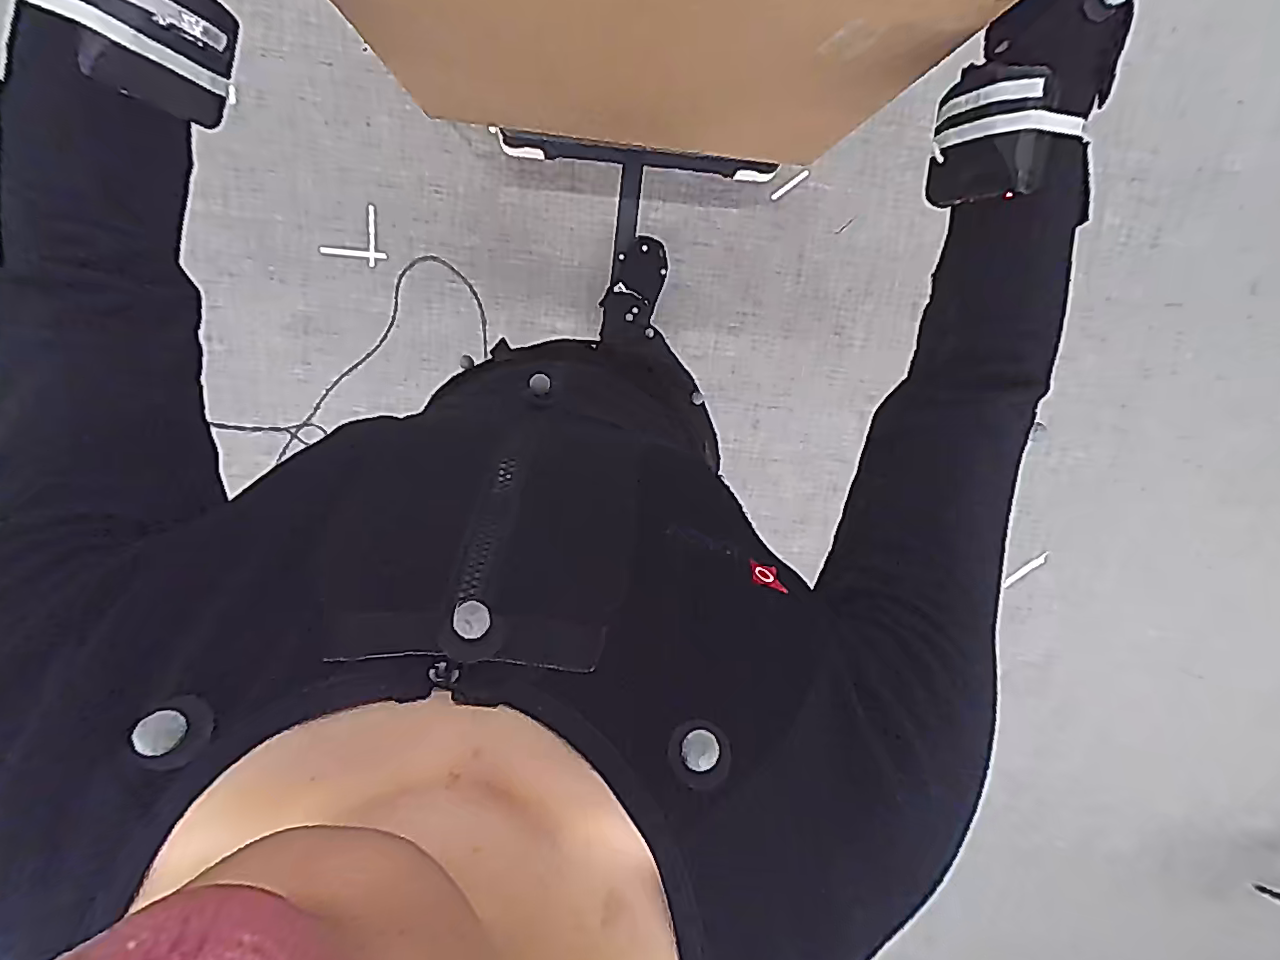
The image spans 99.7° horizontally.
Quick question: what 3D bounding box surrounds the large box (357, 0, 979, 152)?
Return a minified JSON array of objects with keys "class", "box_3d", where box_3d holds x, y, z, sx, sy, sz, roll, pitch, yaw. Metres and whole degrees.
[{"class":"large box","box_3d":[0.009,-0.469,0.386,0.408,0.320,0.320,3,106,-5]}]
